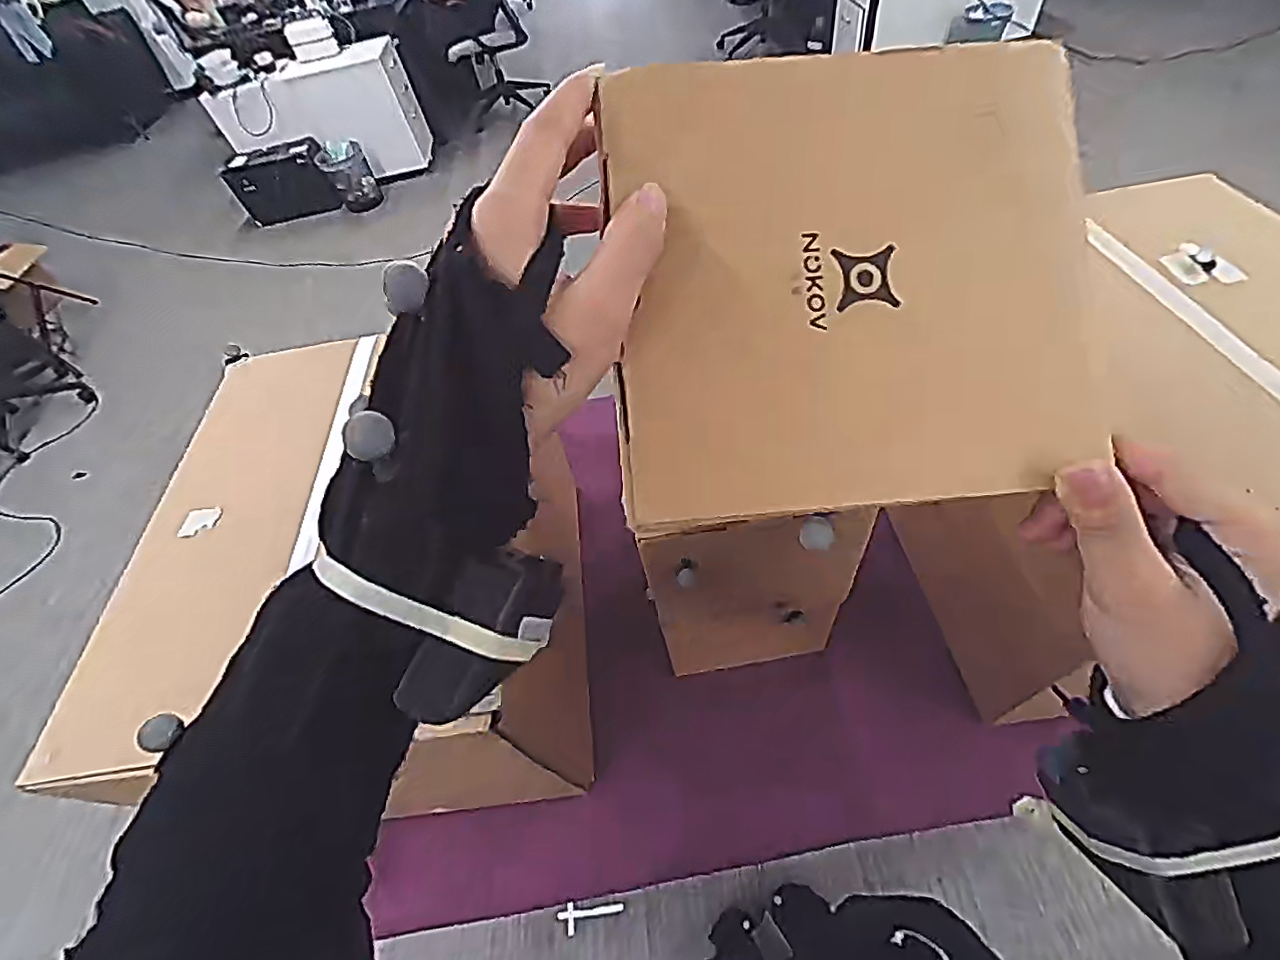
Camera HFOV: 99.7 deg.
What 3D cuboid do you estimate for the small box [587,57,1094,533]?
[{"bbox_3d":[0.072,-0.066,0.278,0.179,0.176,0.168,-5,87,0],"label":"small box"}]

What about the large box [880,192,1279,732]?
[{"bbox_3d":[0.449,-0.016,0.543,0.320,0.320,0.408,-11,51,3],"label":"large box"}]
